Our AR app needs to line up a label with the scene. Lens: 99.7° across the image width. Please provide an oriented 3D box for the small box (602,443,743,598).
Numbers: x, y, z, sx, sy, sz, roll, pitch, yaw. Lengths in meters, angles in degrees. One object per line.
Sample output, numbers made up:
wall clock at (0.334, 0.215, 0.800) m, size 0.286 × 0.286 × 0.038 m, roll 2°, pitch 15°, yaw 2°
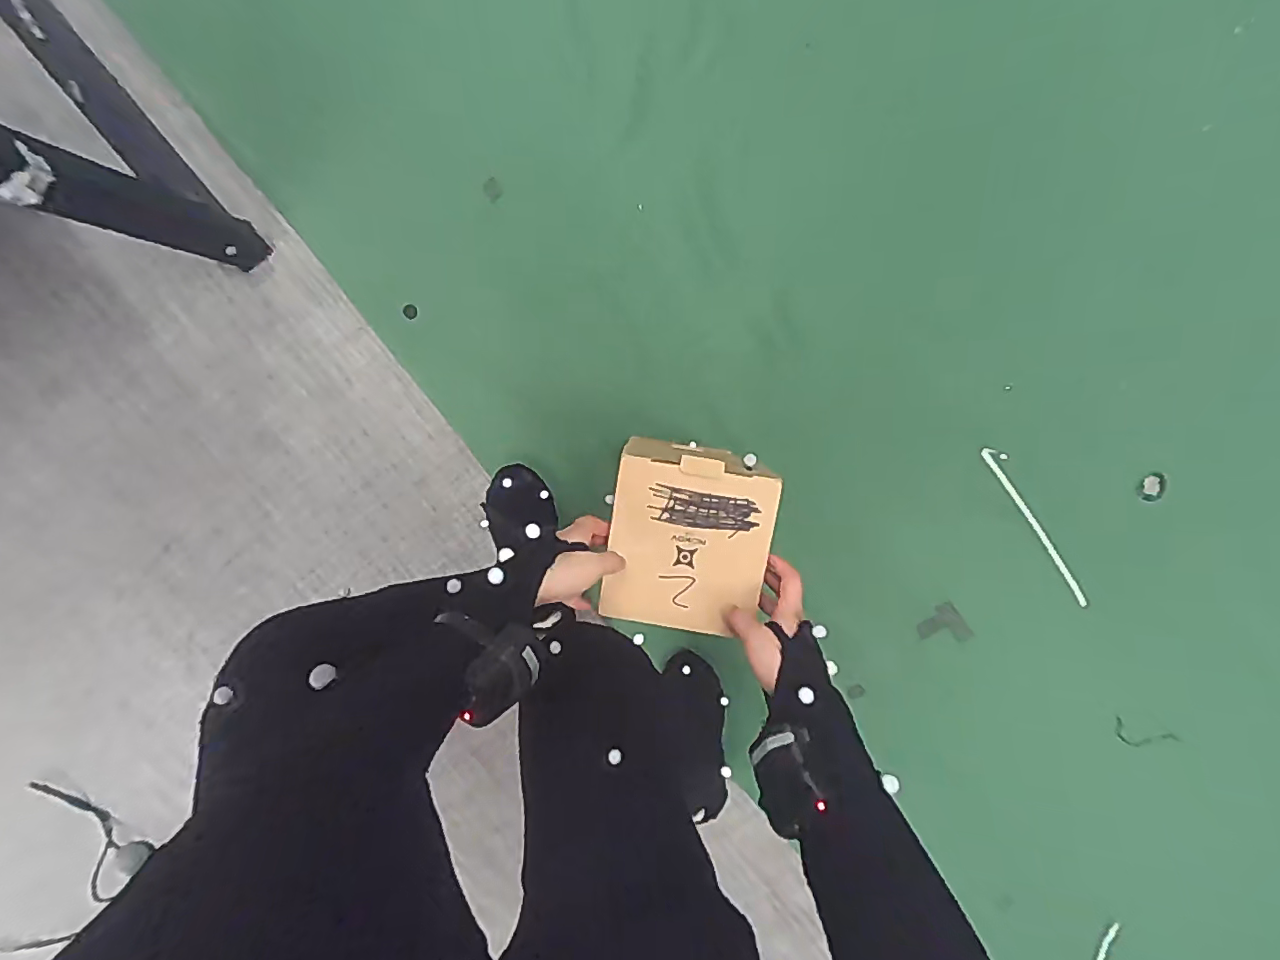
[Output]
small box at (0.046, 0.050, 0.791) m, size 0.168 × 0.176 × 0.179 m, roll 9°, pitch 99°, yaw 1°
